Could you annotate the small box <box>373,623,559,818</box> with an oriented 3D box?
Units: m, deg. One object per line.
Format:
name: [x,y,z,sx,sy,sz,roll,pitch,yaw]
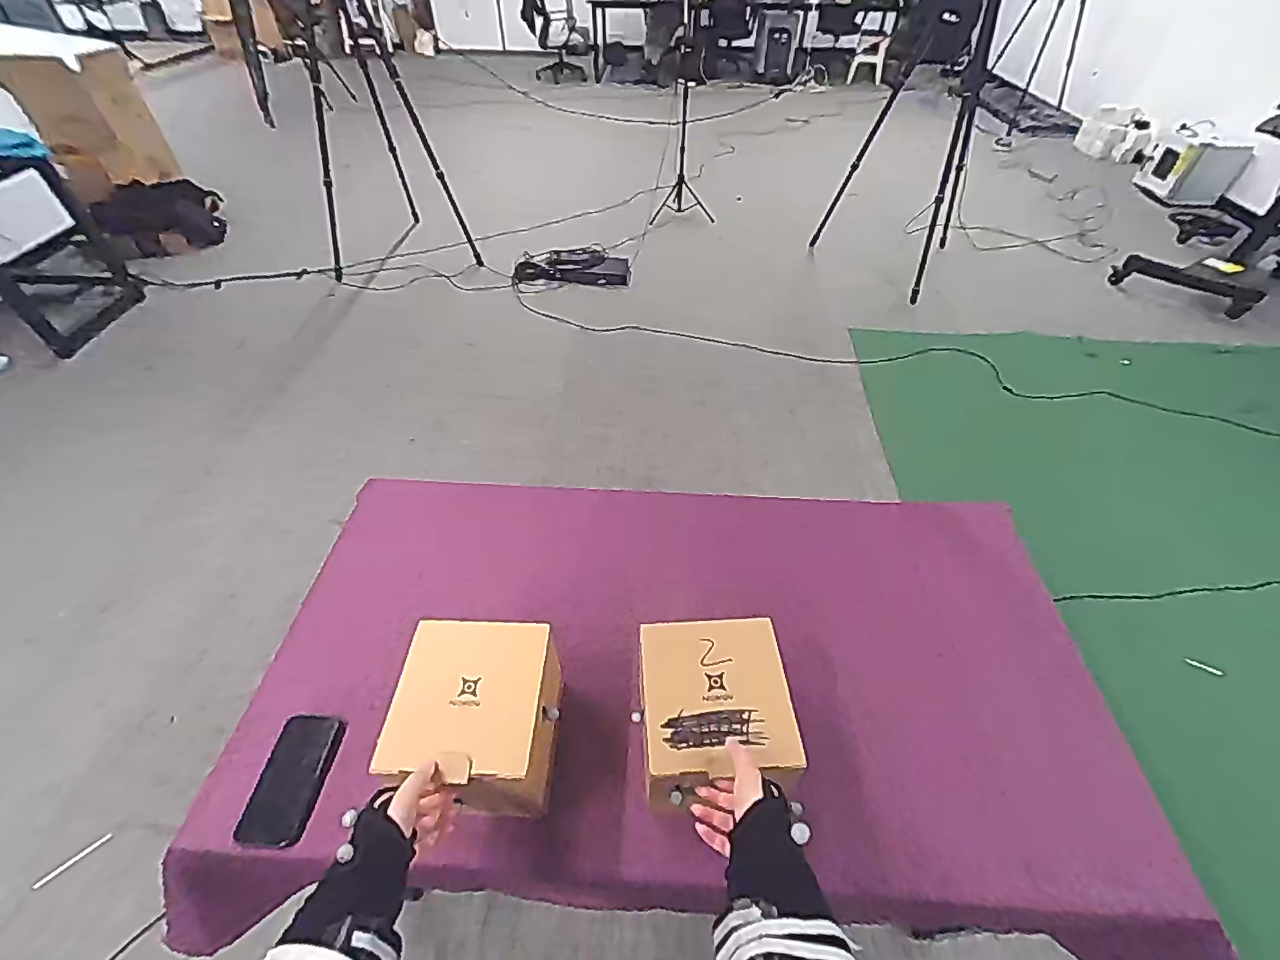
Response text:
small box: [-0.198,0.301,0.677,0.168,0.176,0.179,2,47,1]
